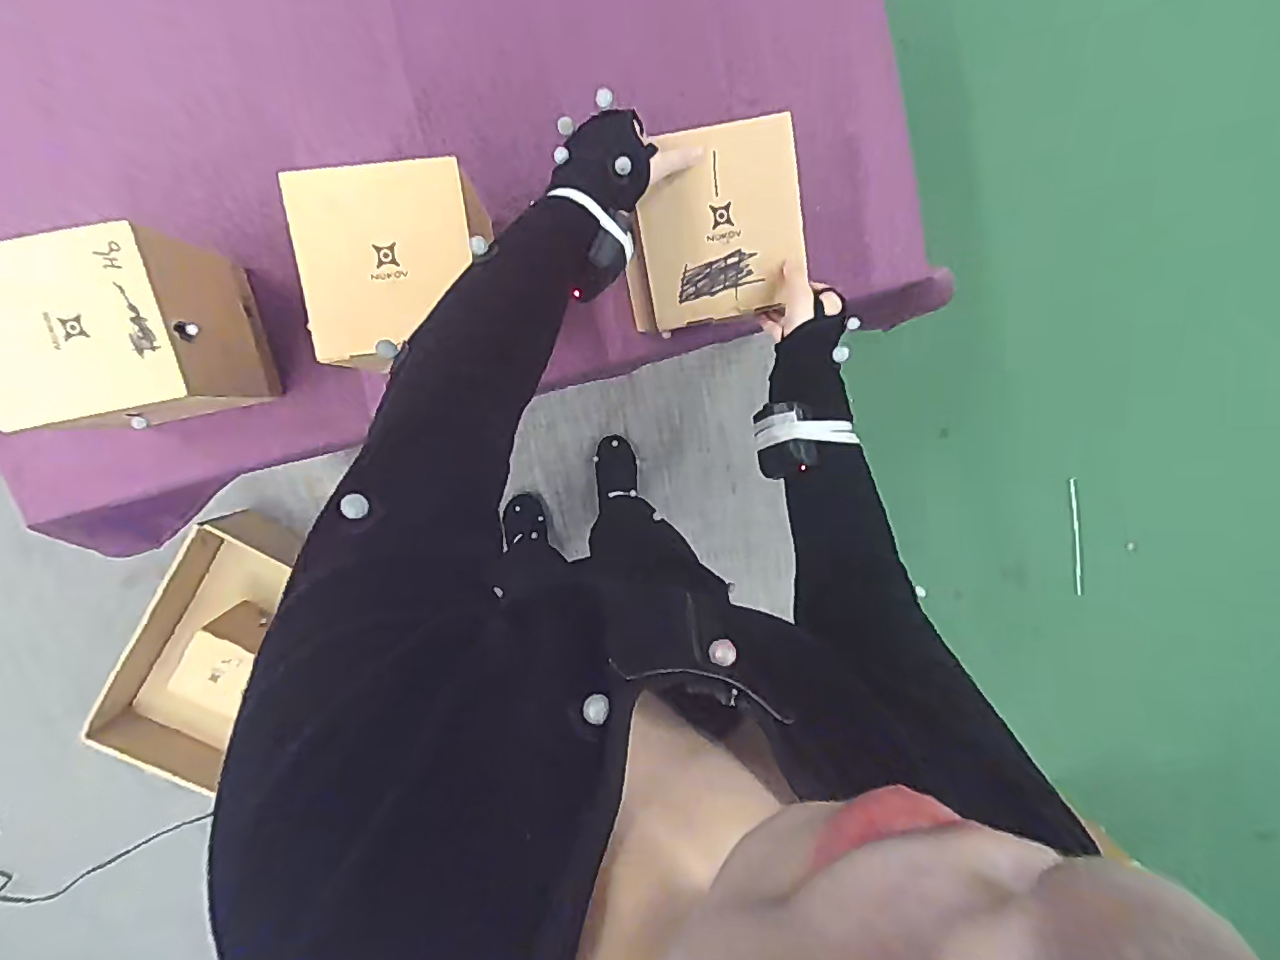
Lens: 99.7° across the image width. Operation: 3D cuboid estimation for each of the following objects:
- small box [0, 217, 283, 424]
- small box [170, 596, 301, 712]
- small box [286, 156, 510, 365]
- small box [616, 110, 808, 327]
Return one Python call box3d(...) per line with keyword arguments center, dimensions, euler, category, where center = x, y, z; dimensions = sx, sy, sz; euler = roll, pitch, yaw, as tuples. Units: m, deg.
box3d(center=(-0.538, -0.159, 0.583), dimensions=(0.179, 0.176, 0.168), euler=(-12, 101, -2), category="small box")
box3d(center=(-0.980, 0.420, 1.329), dimensions=(0.168, 0.176, 0.179), euler=(31, 96, -11), category="small box")
box3d(center=(-0.248, -0.227, 0.600), dimensions=(0.168, 0.176, 0.179), euler=(-7, 101, -4), category="small box")
box3d(center=(0.071, -0.275, 0.608), dimensions=(0.168, 0.176, 0.179), euler=(-12, 105, -4), category="small box")
